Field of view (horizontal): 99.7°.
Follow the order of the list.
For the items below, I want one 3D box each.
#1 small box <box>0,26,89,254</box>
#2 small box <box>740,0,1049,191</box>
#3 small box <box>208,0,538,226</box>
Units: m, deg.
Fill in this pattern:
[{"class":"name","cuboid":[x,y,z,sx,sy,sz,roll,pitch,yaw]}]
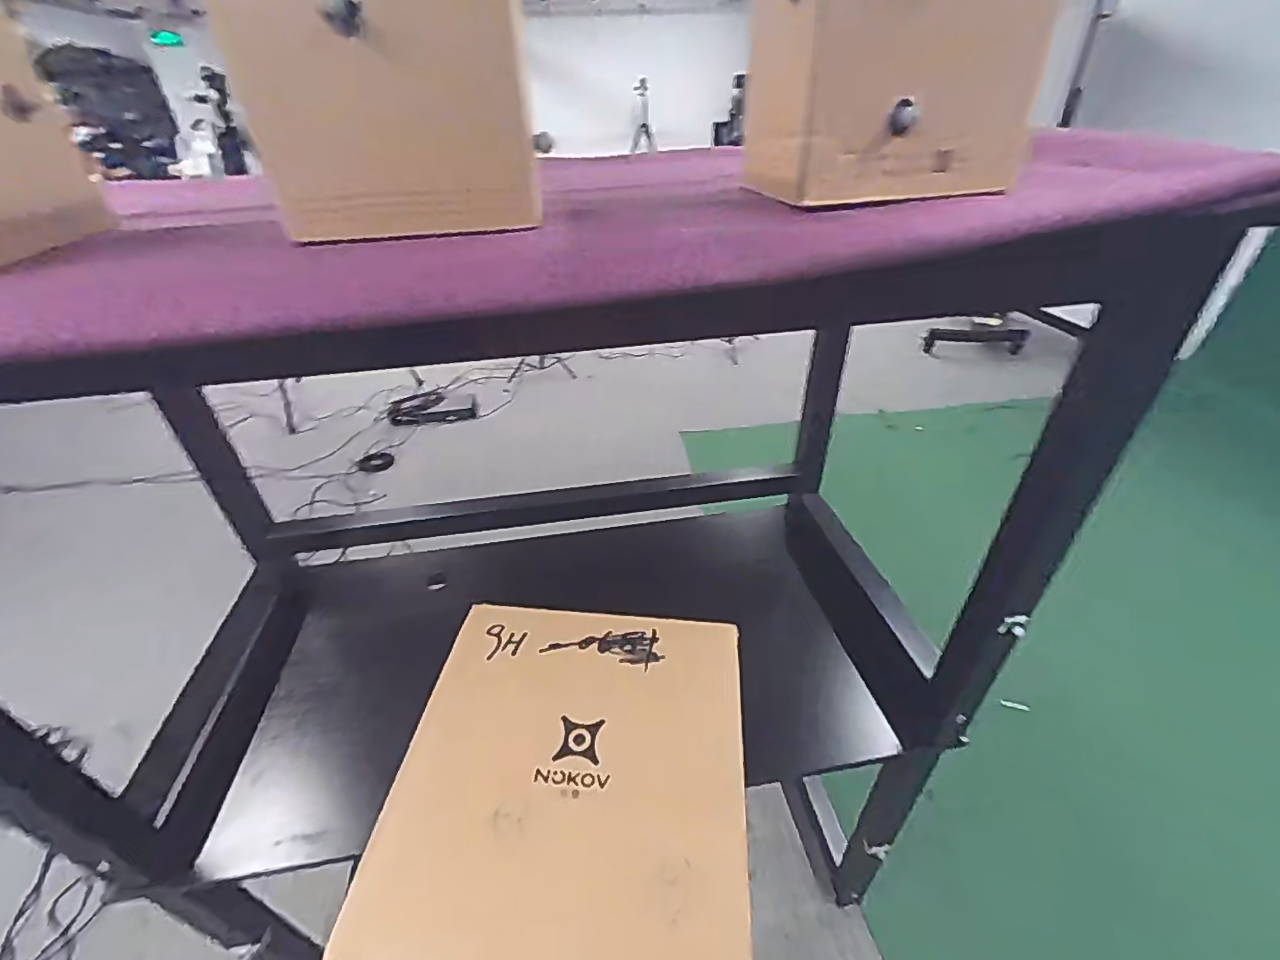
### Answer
[{"class":"small box","cuboid":[-0.516,-0.227,0.335,0.168,0.176,0.179,-10,37,-8]},{"class":"small box","cuboid":[0.180,-0.333,0.429,0.168,0.176,0.179,-7,34,-3]},{"class":"small box","cuboid":[-0.177,-0.292,0.399,0.179,0.176,0.168,-6,35,-6]}]
